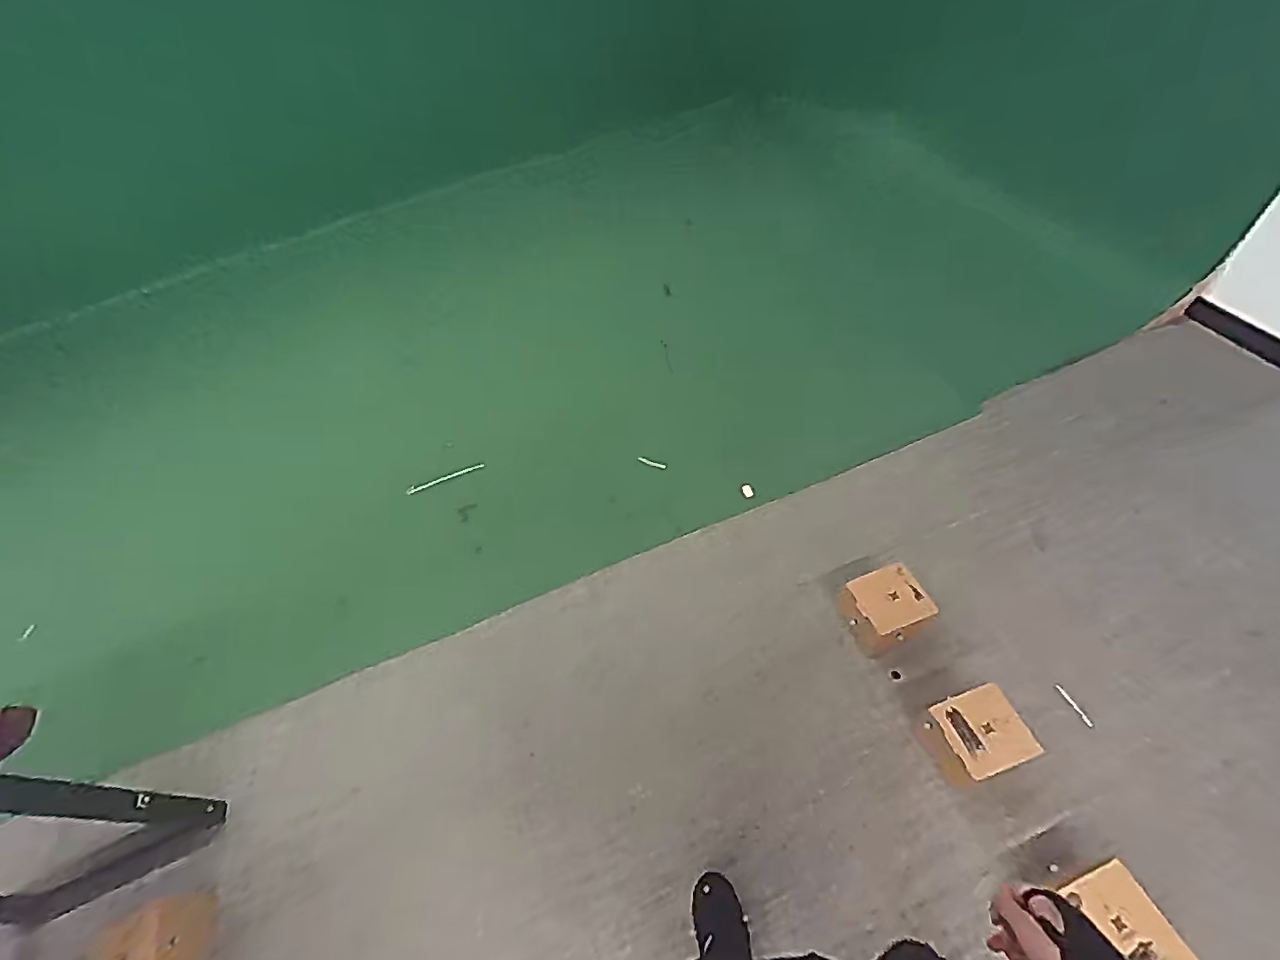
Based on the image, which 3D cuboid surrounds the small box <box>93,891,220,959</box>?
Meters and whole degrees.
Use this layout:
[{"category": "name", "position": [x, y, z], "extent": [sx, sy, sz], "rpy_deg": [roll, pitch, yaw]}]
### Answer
[{"category": "small box", "position": [-1.152, 1.121, 1.295], "extent": [0.168, 0.176, 0.179], "rpy_deg": [-25, 54, -8]}]

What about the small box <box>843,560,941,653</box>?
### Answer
[{"category": "small box", "position": [0.681, 0.354, 1.490], "extent": [0.179, 0.176, 0.168], "rpy_deg": [-21, 54, -4]}]

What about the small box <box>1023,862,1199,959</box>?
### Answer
[{"category": "small box", "position": [0.912, 0.882, 1.061], "extent": [0.168, 0.176, 0.179], "rpy_deg": [-22, 53, -6]}]
